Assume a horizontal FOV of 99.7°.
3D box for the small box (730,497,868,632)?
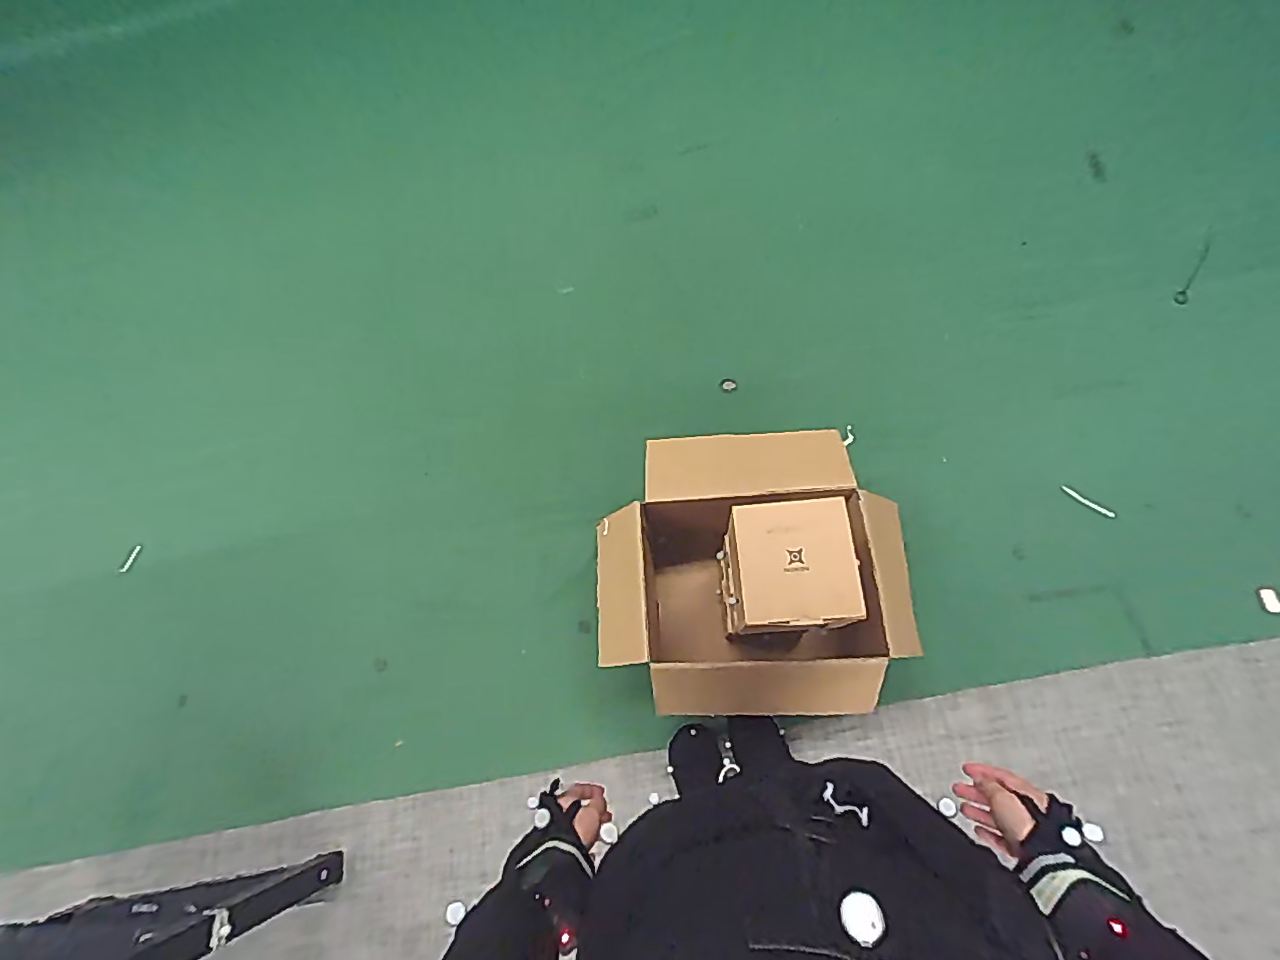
[{"bbox_3d":[0.233,0.139,0.837,0.168,0.176,0.179,-6,69,4],"label":"small box"}]
